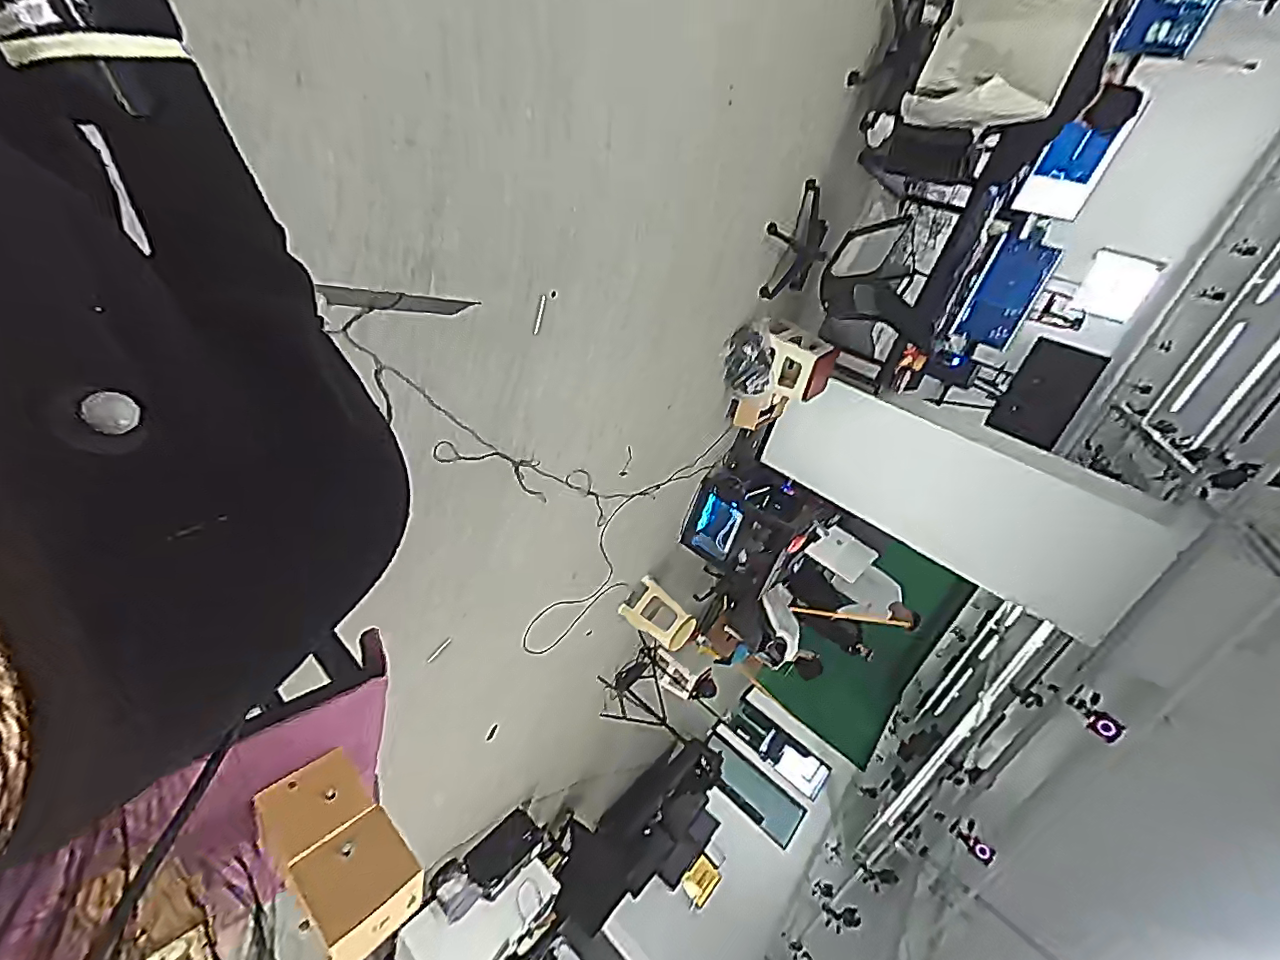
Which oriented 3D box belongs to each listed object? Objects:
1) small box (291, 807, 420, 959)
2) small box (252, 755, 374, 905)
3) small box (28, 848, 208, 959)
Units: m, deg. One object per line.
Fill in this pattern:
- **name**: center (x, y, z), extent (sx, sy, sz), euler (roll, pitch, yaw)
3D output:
- **small box**: center (-0.556, 0.796, 1.056), extent (0.179, 0.176, 0.168), euler (-22, 137, -47)
- **small box**: center (-0.679, 0.711, 1.124), extent (0.168, 0.176, 0.179), euler (-21, 136, -48)
- **small box**: center (-0.858, 0.769, 0.898), extent (0.179, 0.176, 0.168), euler (-18, 134, -49)
